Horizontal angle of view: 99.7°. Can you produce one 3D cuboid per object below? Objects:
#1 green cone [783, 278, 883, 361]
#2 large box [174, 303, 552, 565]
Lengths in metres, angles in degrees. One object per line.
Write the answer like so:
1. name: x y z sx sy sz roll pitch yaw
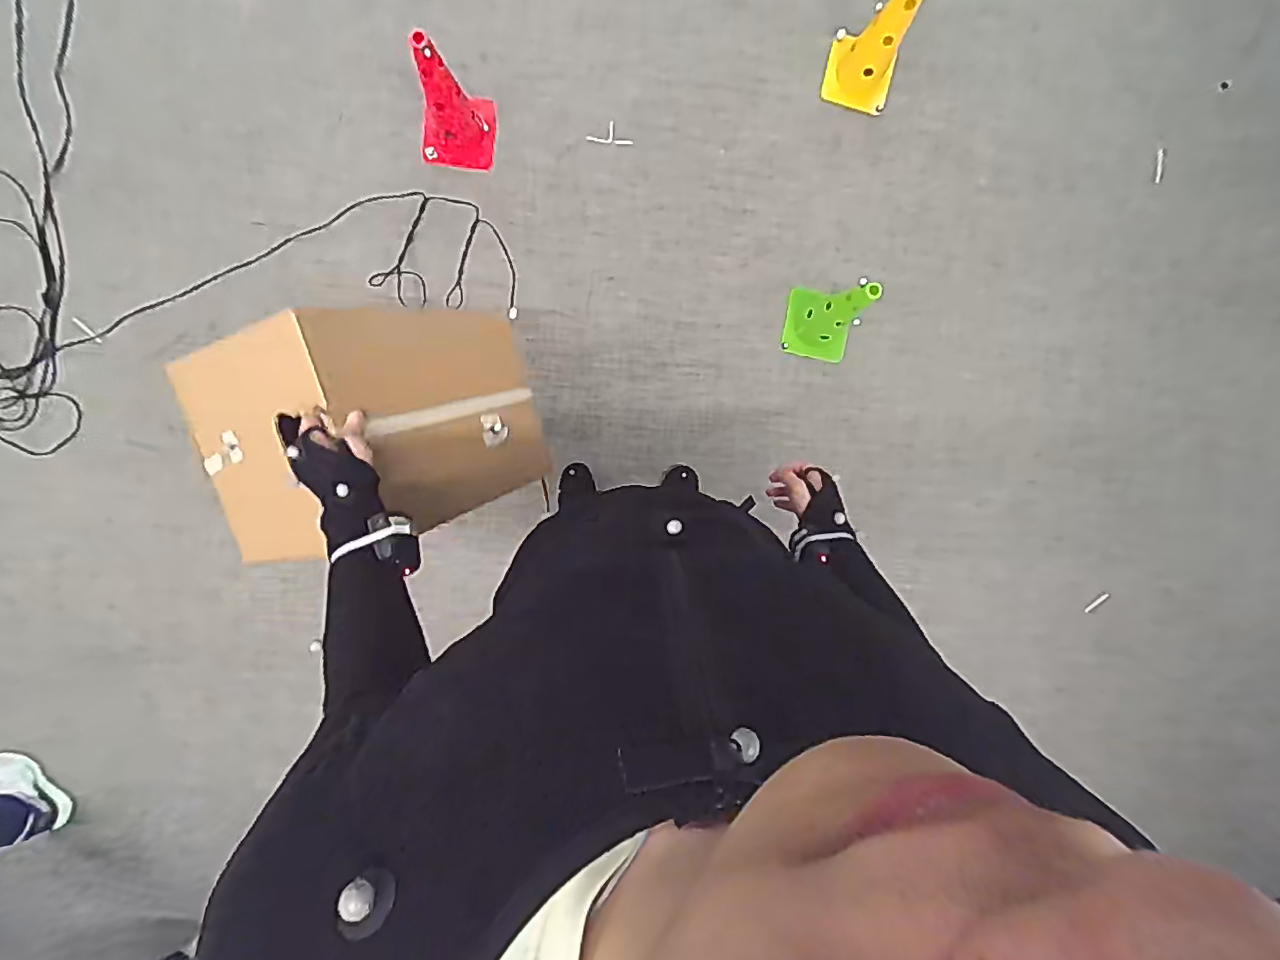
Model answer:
1. green cone: 0.558 -0.469 1.483 0.200 0.368 0.202 9 91 -5
2. large box: -0.416 -0.091 0.895 0.320 0.408 0.320 -8 103 27
